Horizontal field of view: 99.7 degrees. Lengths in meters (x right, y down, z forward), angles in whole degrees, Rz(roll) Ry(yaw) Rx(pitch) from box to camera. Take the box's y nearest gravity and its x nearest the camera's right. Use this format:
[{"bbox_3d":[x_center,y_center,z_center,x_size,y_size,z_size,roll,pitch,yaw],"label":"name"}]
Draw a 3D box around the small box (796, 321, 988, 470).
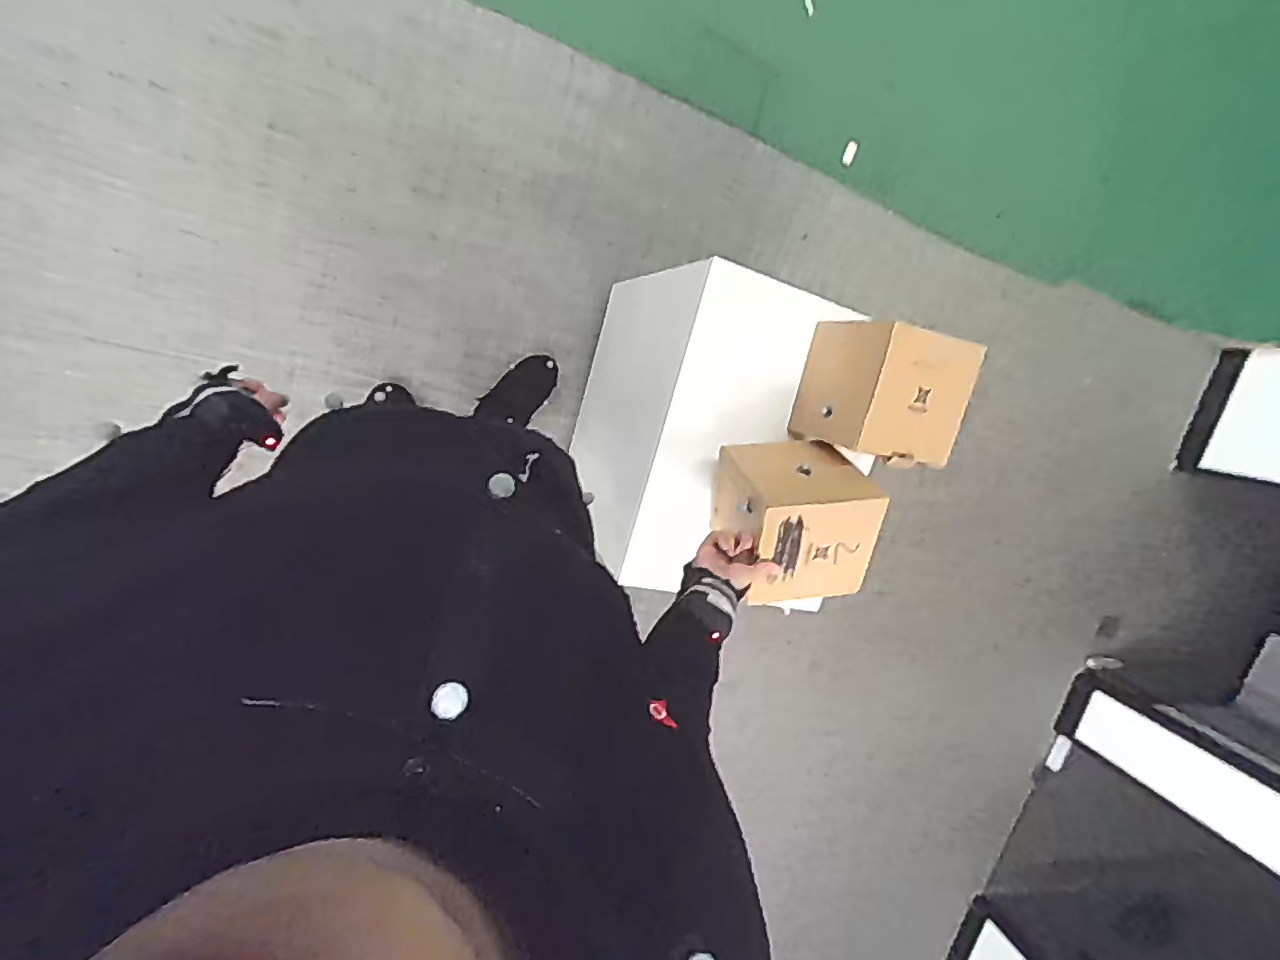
[{"bbox_3d":[0.356,-0.127,0.797,0.168,0.176,0.179,7,102,-21],"label":"small box"}]
